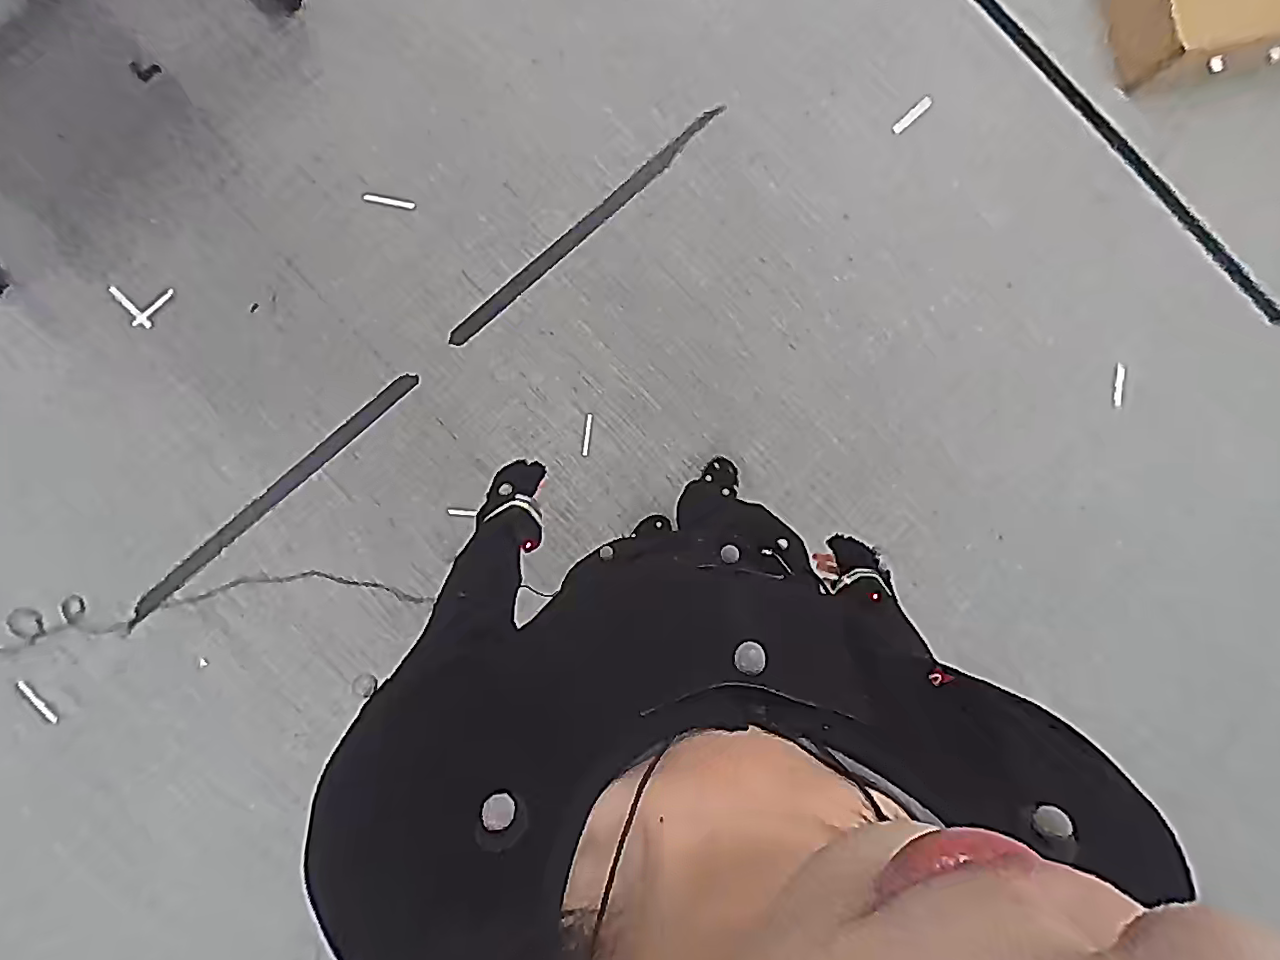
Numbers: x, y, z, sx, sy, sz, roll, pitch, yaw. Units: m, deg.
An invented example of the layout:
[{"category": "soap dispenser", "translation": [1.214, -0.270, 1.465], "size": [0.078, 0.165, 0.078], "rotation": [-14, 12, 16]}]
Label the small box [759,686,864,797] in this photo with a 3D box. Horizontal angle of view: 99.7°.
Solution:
[{"category": "small box", "translation": [0.450, 0.686, 1.443], "size": [0.168, 0.176, 0.179], "rotation": [-44, 90, -4]}]
